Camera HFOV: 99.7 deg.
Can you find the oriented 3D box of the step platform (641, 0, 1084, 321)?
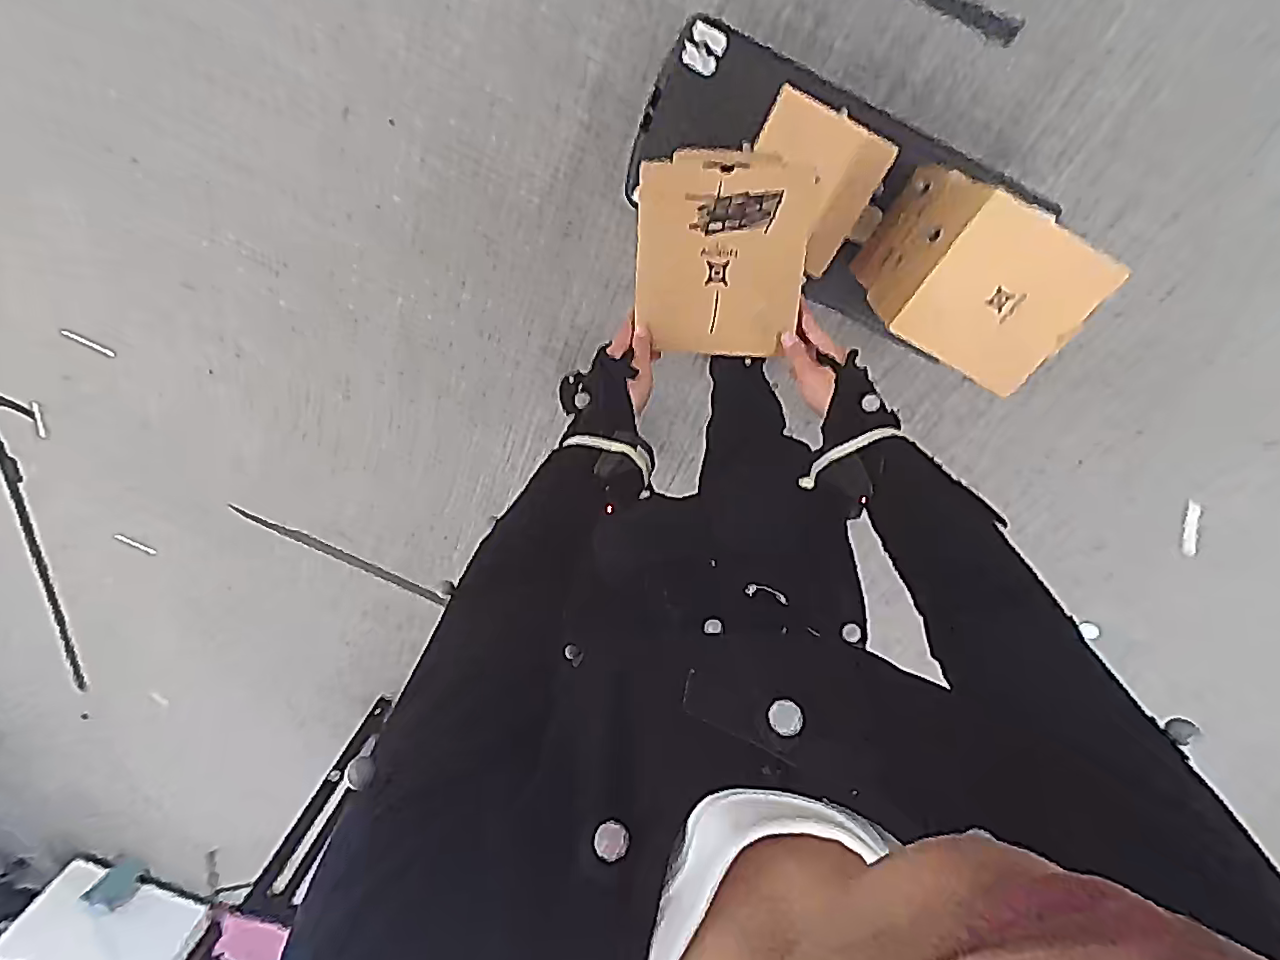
[{"bbox_3d":[0.347,-0.493,0.920,0.684,0.204,0.286,26,122,-3],"label":"step platform"}]

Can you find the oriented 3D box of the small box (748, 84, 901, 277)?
[{"bbox_3d":[0.233,-0.427,0.779,0.168,0.176,0.179,27,123,-5],"label":"small box"}]

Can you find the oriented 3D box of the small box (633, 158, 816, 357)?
[{"bbox_3d":[0.085,-0.236,0.602,0.168,0.176,0.179,4,108,5],"label":"small box"}]

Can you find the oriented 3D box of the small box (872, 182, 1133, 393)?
[{"bbox_3d":[0.415,-0.240,0.660,0.179,0.176,0.168,28,123,-6],"label":"small box"}]
